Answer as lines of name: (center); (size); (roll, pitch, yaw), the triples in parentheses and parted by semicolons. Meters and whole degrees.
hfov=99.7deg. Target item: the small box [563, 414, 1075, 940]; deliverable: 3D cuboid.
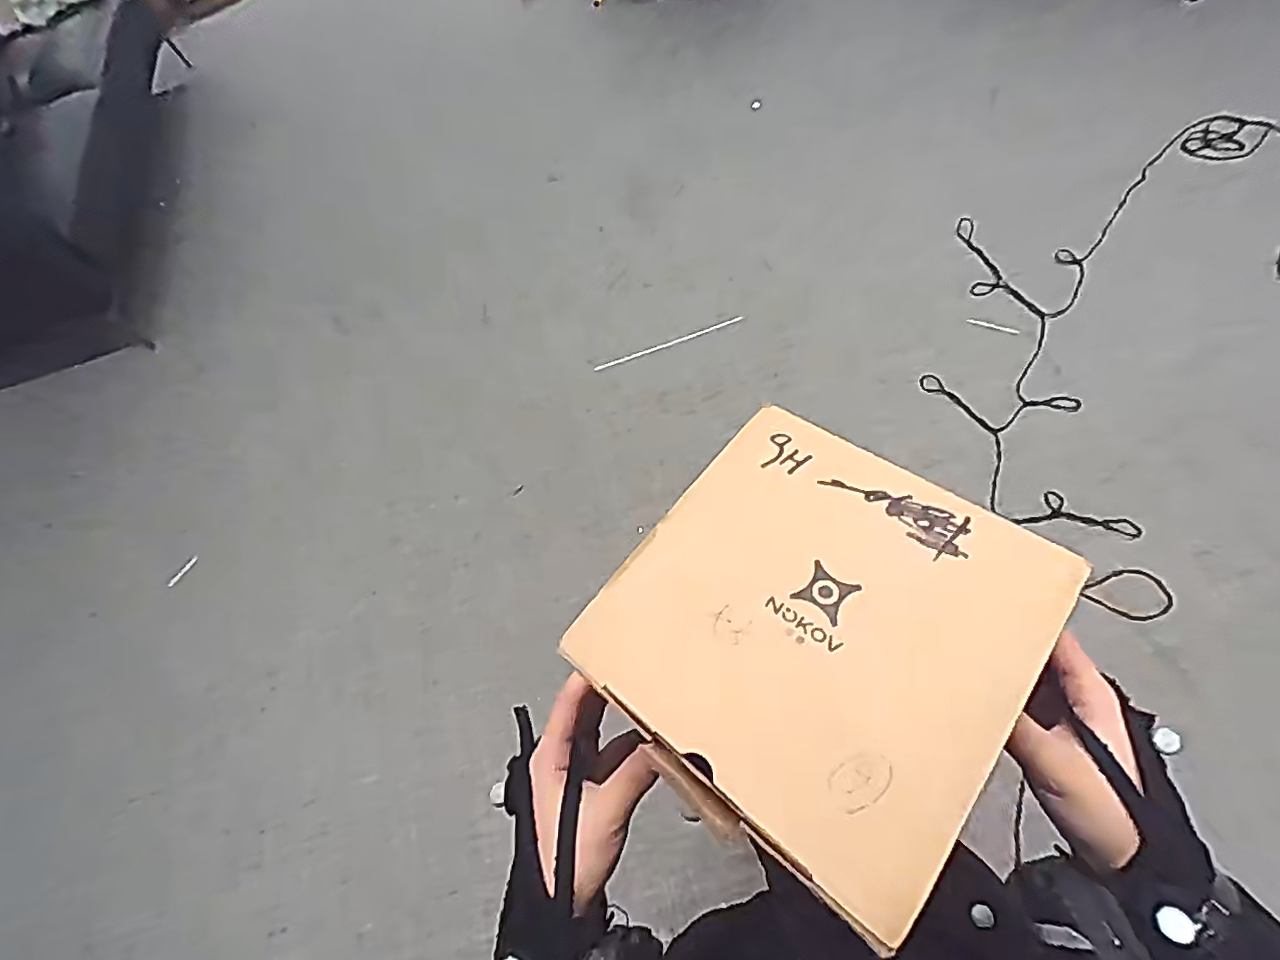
small box: (0.090, 0.102, 0.313); (0.168, 0.176, 0.179); (33, 70, 27)
